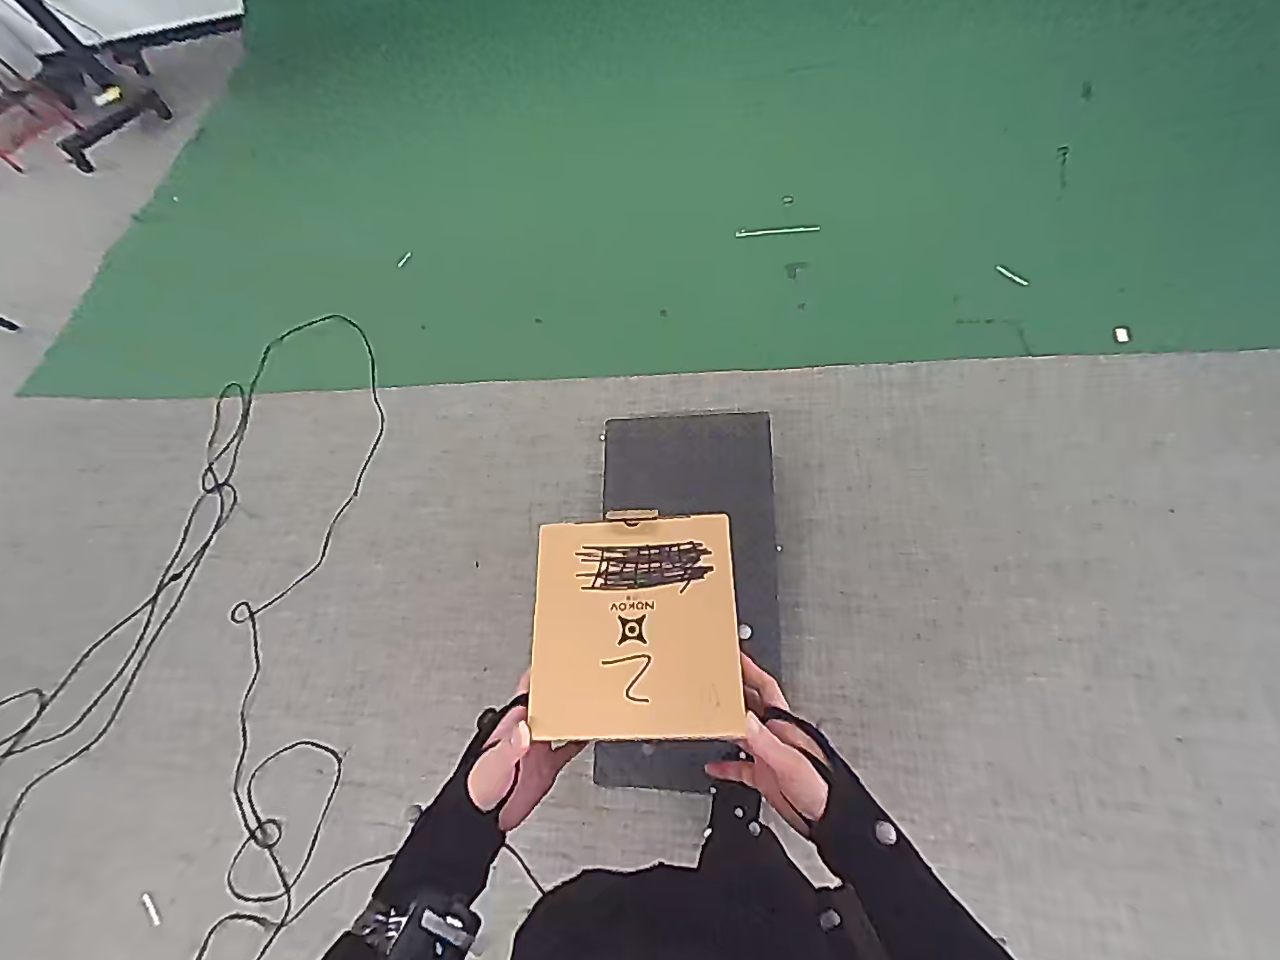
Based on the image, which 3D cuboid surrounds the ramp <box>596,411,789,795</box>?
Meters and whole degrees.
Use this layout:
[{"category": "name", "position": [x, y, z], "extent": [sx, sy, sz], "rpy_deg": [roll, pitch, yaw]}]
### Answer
[{"category": "ramp", "position": [0.133, 0.289, 1.473], "extent": [0.509, 0.206, 0.991], "rpy_deg": [-3, 65, 8]}]
